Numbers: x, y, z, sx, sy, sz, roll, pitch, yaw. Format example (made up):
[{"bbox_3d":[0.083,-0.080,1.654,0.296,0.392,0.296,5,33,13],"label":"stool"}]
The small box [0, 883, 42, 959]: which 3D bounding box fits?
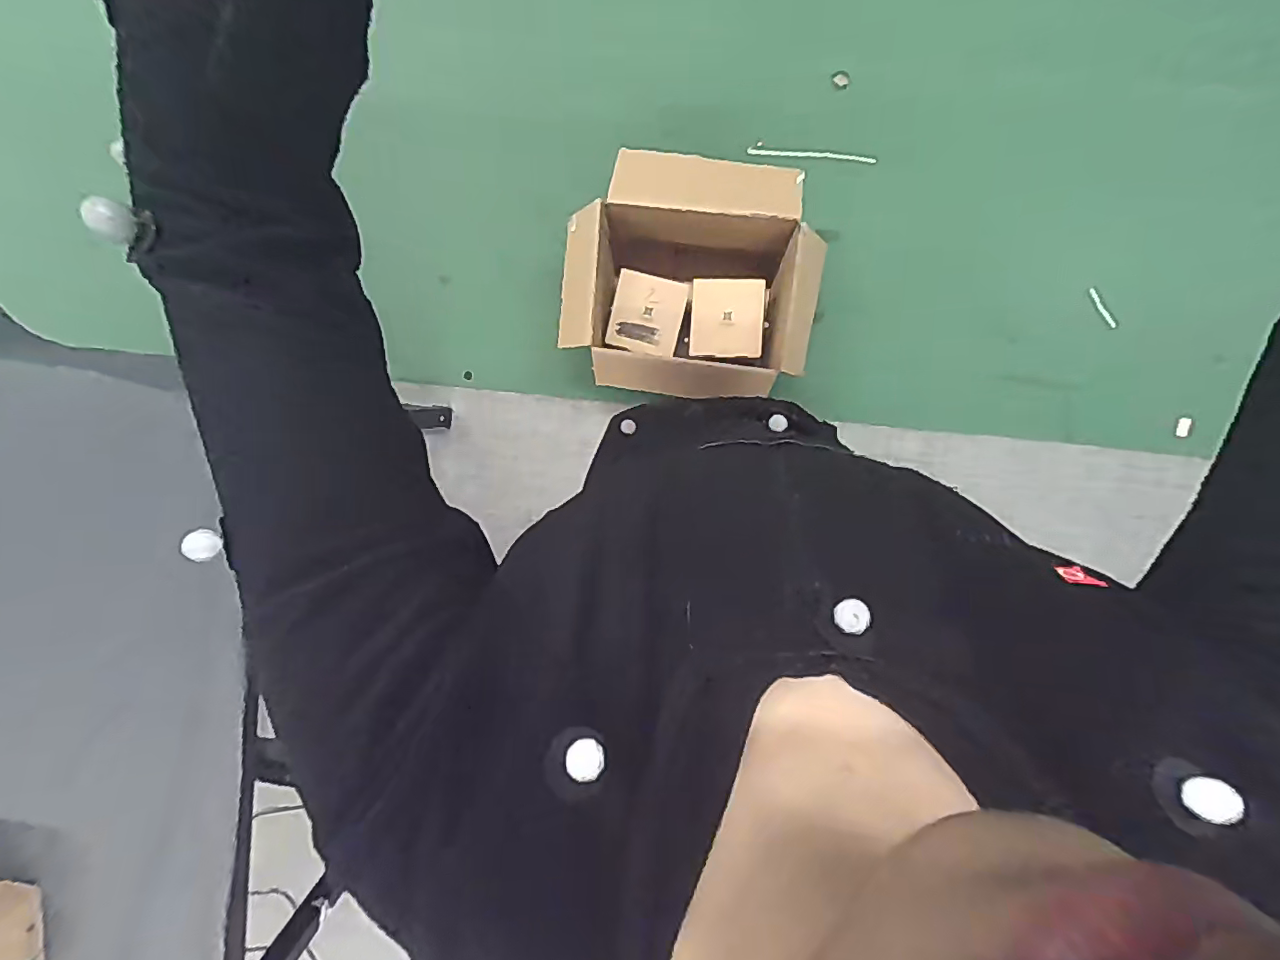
[{"bbox_3d":[-1.090,0.754,0.834,0.179,0.176,0.168,7,98,3],"label":"small box"}]
